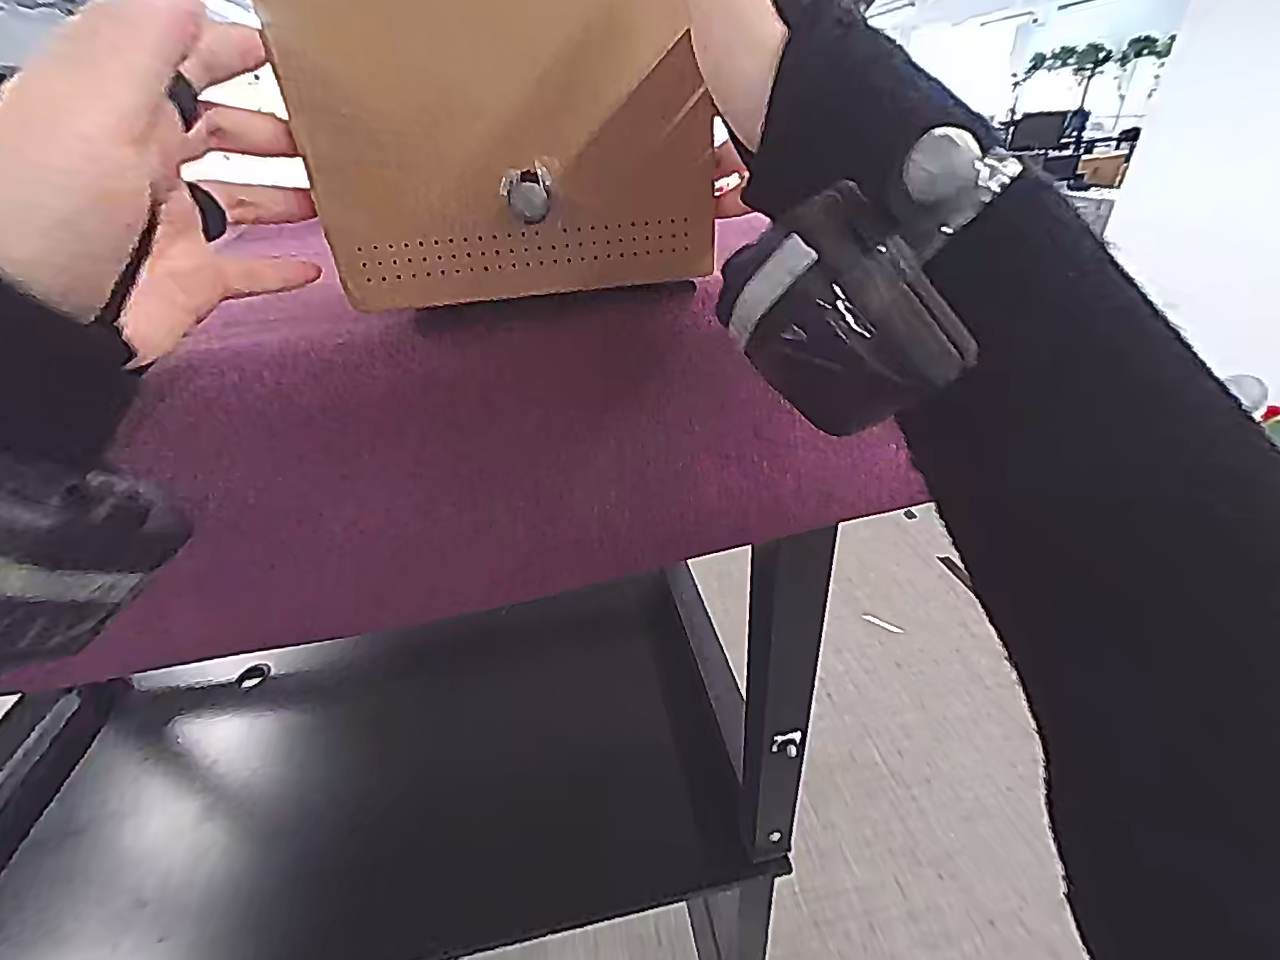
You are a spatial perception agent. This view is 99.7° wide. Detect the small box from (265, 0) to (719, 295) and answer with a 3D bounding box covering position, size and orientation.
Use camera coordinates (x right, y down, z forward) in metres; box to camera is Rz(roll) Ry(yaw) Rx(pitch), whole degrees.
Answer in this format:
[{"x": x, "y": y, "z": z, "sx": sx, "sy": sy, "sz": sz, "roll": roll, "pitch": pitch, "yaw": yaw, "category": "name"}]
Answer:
[{"x": -0.064, "y": -0.201, "z": 0.280, "sx": 0.179, "sy": 0.176, "sz": 0.168, "roll": -9, "pitch": 28, "yaw": -9, "category": "small box"}]
